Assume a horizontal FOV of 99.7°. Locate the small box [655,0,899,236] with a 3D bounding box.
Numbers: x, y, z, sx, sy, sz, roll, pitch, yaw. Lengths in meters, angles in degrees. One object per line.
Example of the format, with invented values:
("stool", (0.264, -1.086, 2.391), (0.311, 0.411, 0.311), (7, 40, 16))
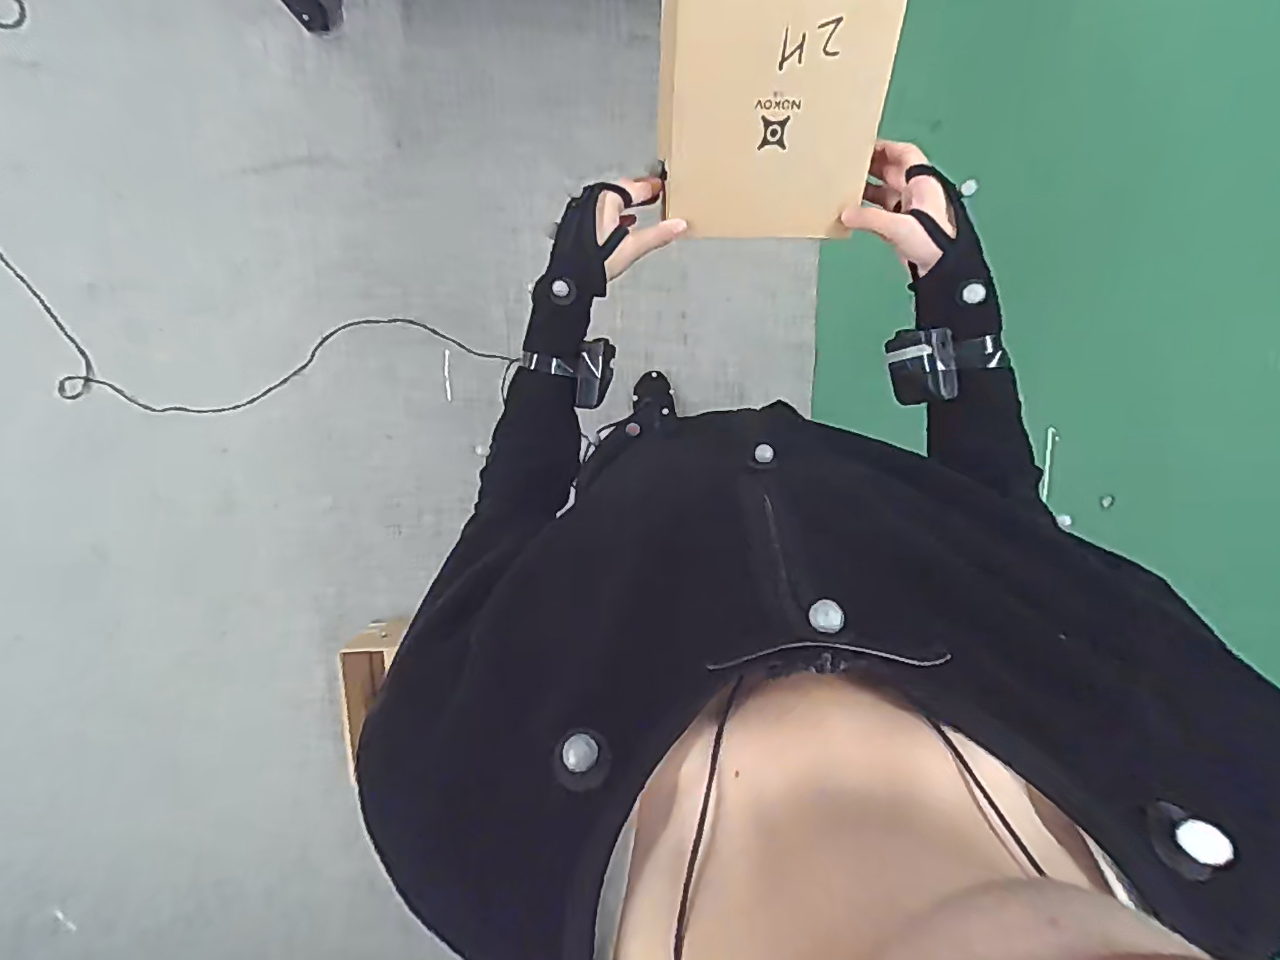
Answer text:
("small box", (0.101, -0.334, 0.490), (0.168, 0.176, 0.179), (-1, 126, -1))
